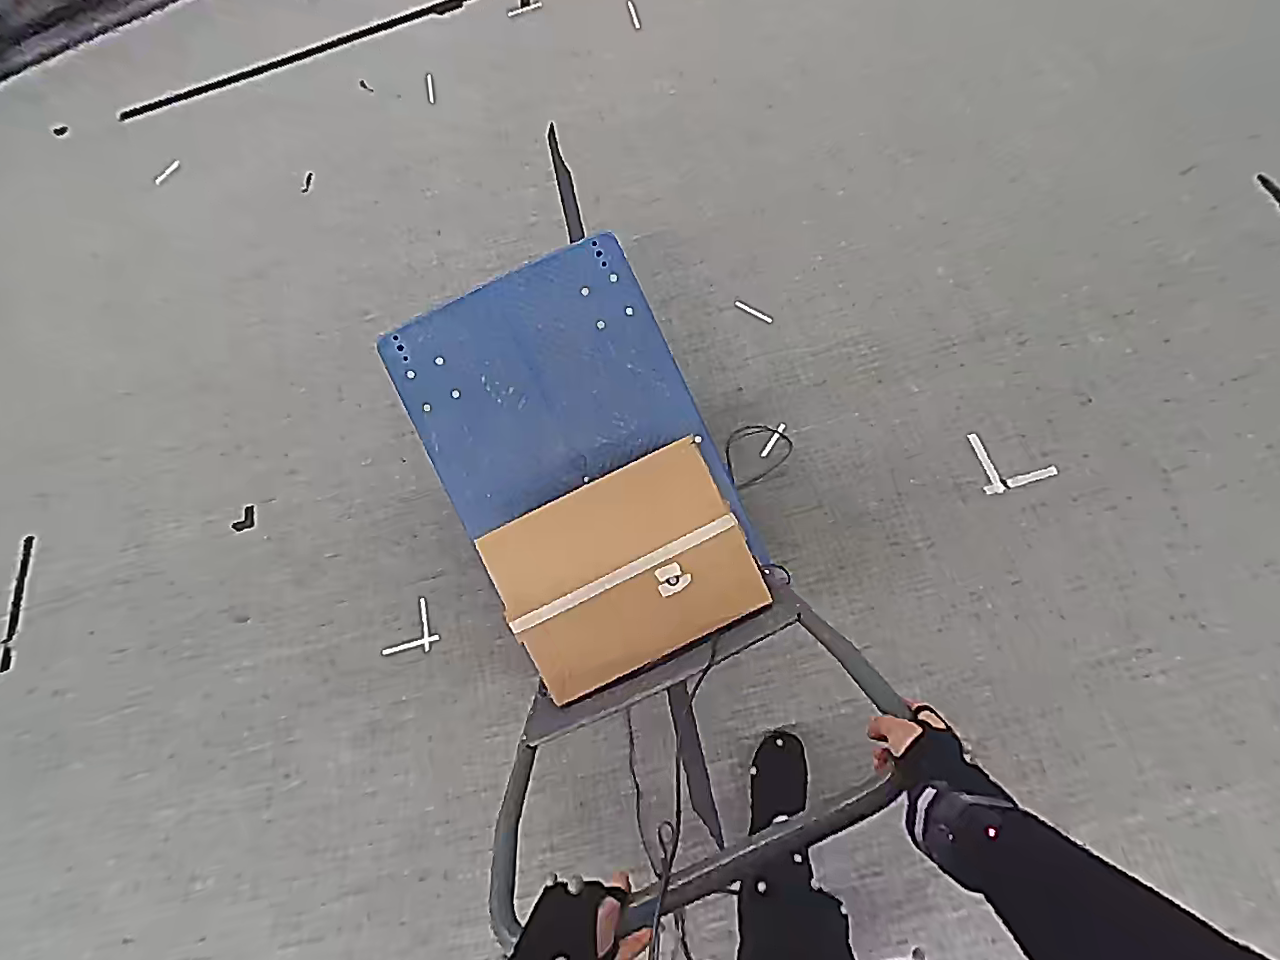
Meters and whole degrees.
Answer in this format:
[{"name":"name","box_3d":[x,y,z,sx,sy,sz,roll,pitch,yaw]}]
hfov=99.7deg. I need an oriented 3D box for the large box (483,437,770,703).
[{"name":"large box","box_3d":[-0.026,0.153,1.056,0.408,0.320,0.320,-27,92,-1]}]
